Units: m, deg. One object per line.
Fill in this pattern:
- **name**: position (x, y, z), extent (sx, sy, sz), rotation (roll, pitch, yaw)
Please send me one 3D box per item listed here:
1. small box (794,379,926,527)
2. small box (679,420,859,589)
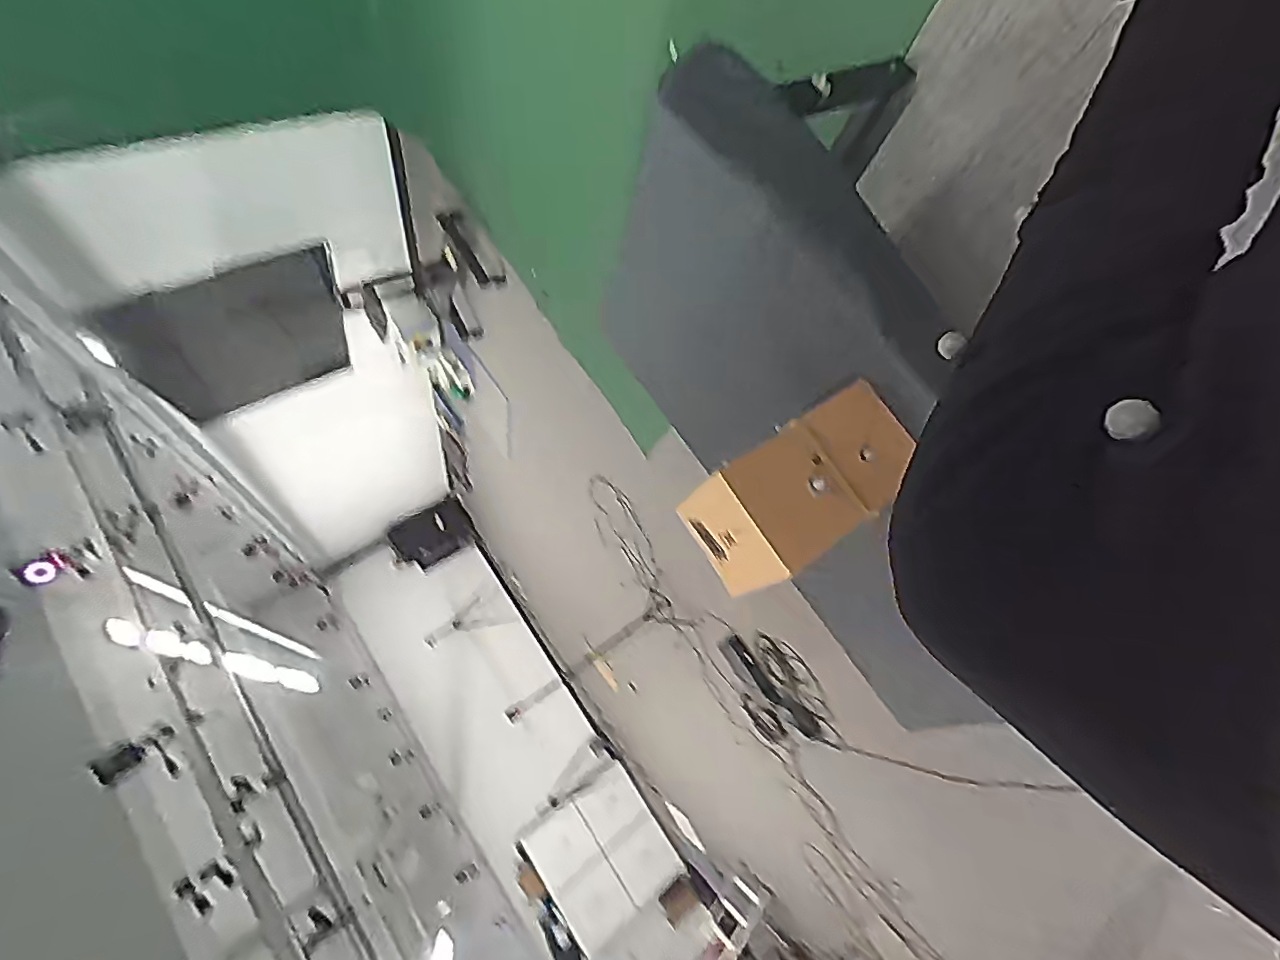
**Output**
- **small box**: position (0.321, -0.033, 0.887), extent (0.179, 0.176, 0.168), rotation (55, 156, 9)
- **small box**: position (0.190, 0.039, 0.819), extent (0.168, 0.176, 0.179), rotation (55, 157, 12)
